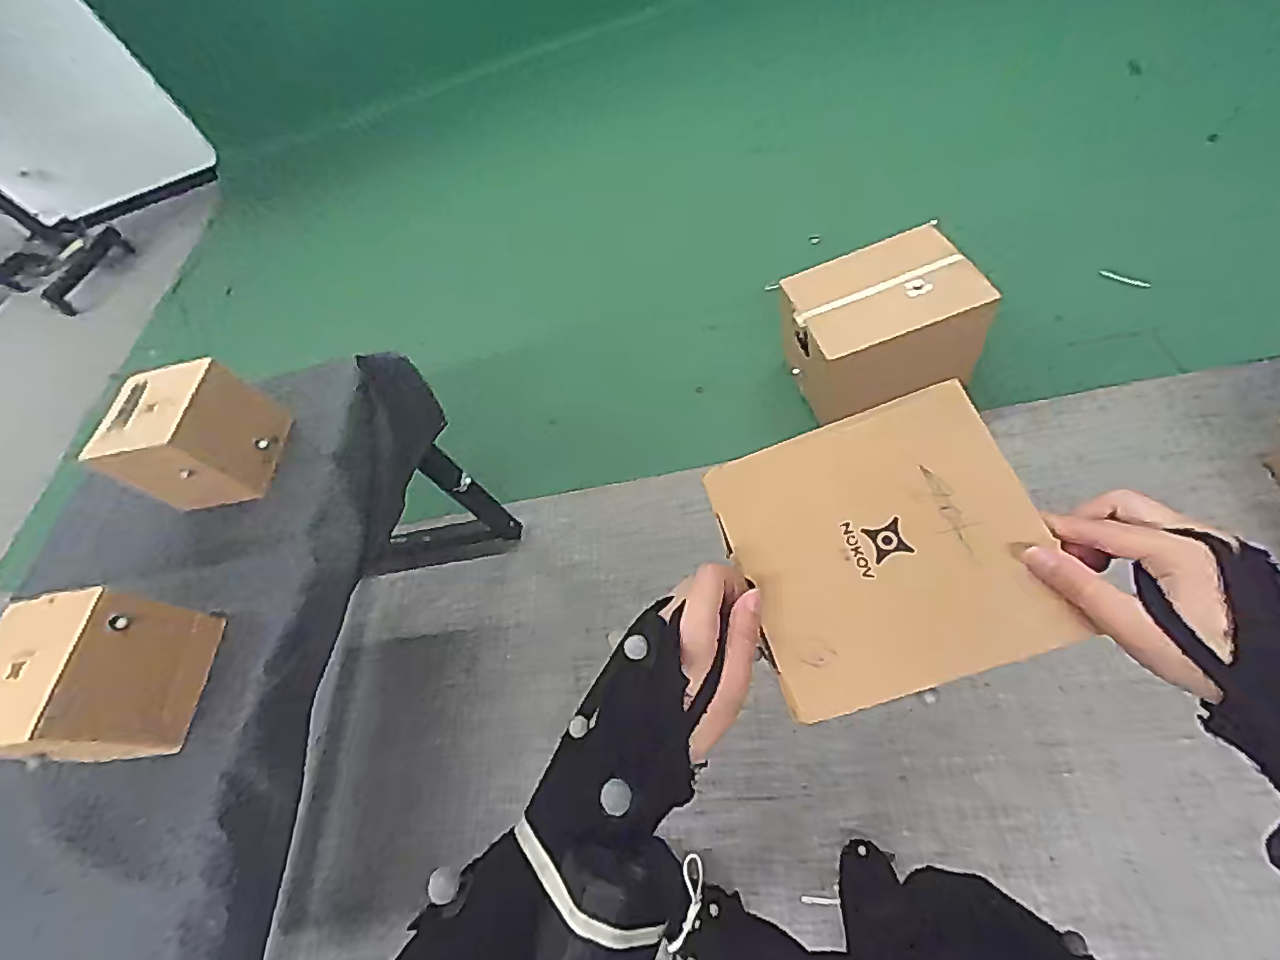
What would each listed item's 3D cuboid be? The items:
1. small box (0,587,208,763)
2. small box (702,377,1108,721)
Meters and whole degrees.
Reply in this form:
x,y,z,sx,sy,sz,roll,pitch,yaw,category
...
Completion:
x,y,z,sx,sy,sz,roll,pitch,yaw,category
-0.703,0.254,0.680,0.168,0.176,0.179,-11,57,12,small box
0.161,0.060,0.394,0.179,0.176,0.168,-20,70,5,small box
